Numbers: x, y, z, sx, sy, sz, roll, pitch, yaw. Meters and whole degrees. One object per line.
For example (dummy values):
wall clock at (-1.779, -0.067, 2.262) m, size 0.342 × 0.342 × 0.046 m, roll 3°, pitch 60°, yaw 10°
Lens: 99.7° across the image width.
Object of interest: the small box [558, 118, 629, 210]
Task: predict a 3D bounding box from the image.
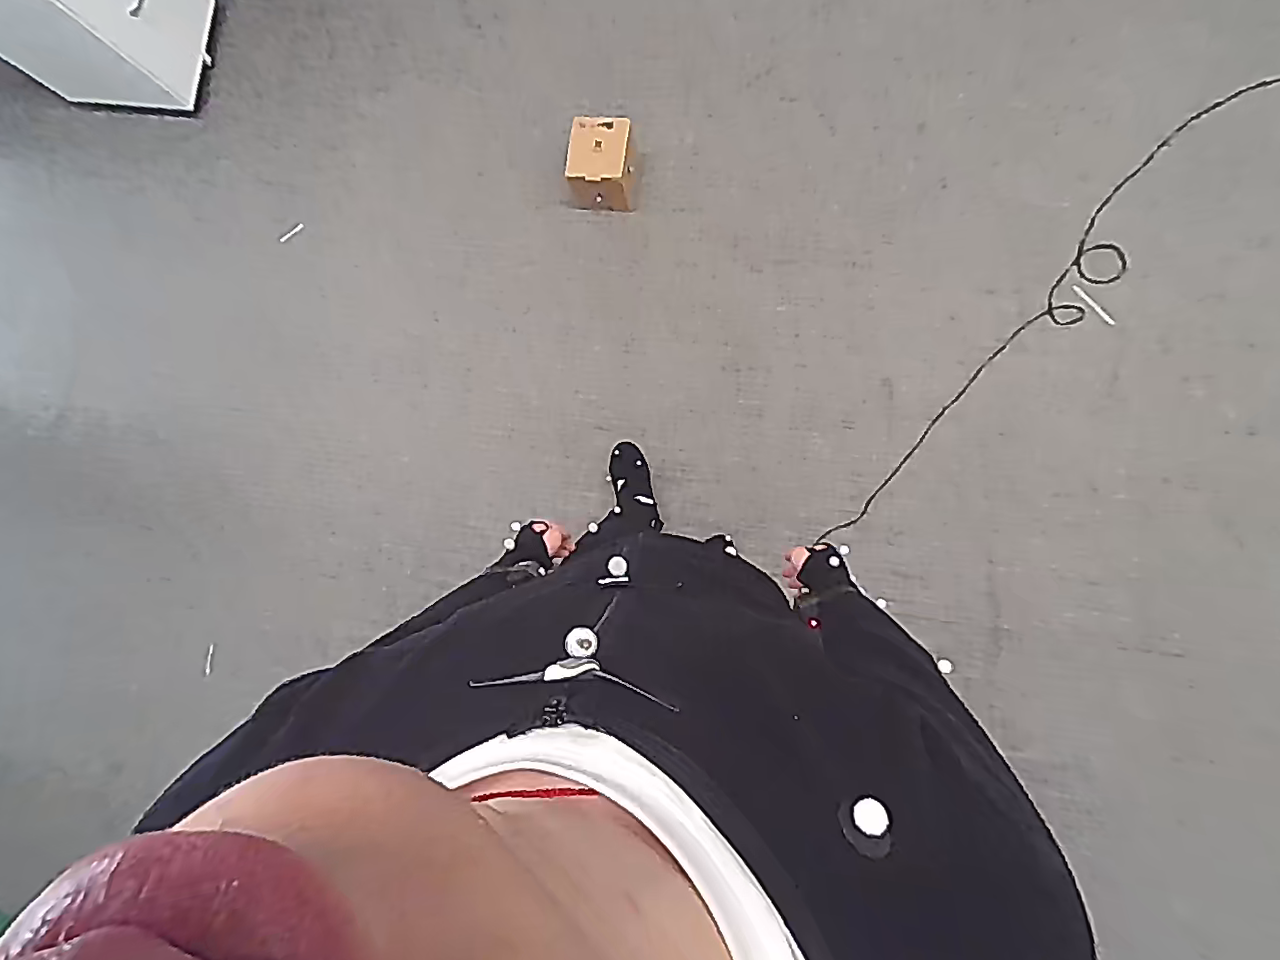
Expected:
small box at (-0.130, -0.916, 1.582) m, size 0.168 × 0.176 × 0.179 m, roll 5°, pitch 87°, yaw 9°
